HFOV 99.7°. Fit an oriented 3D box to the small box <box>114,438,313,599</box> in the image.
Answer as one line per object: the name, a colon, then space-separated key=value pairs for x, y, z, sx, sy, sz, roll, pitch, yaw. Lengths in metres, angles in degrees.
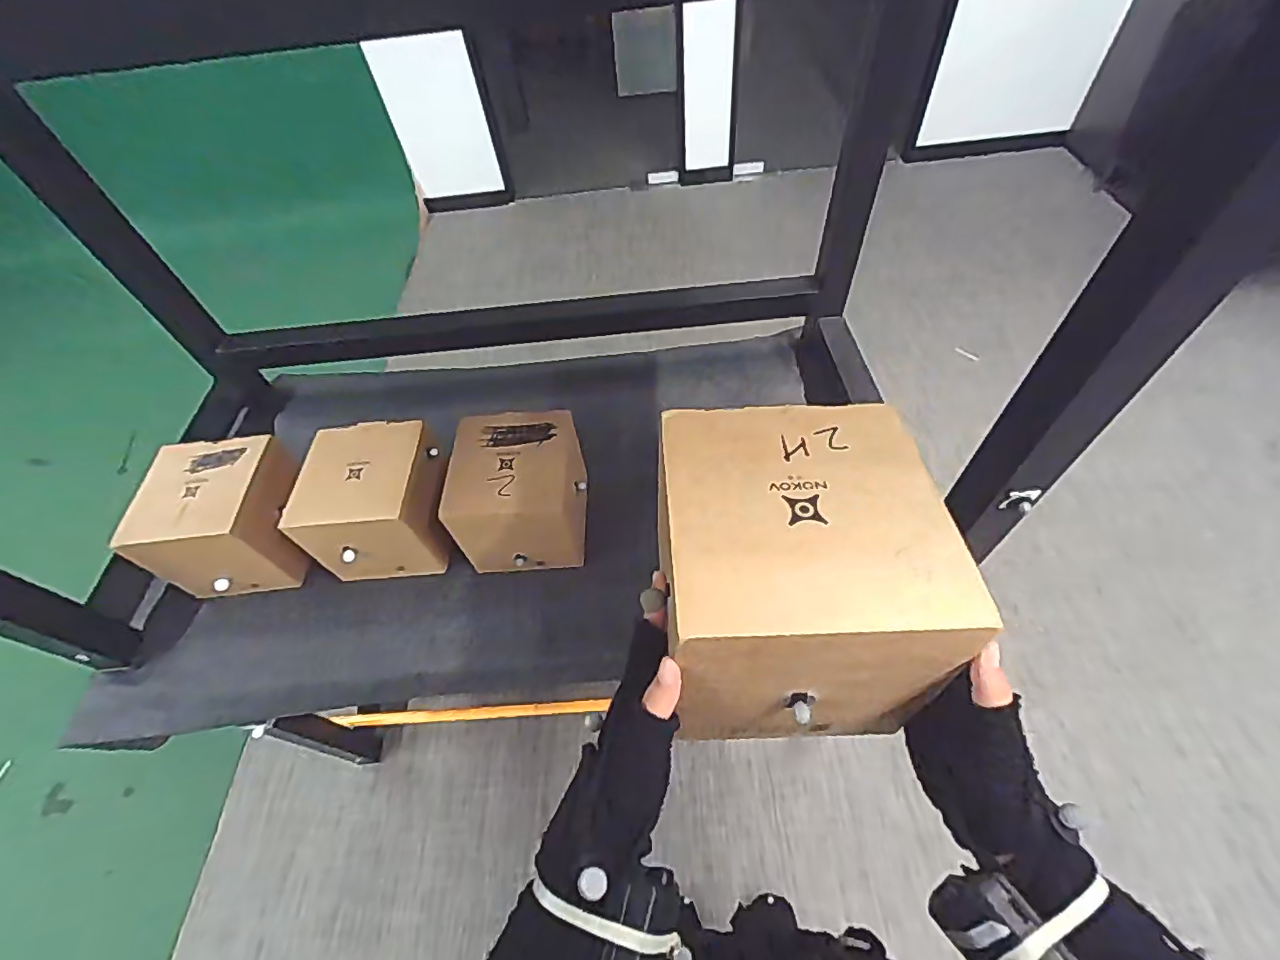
small box: x=-0.615 y=0.062 z=0.825 sx=0.168 sy=0.176 sz=0.179 roll=-7 pitch=53 yaw=1

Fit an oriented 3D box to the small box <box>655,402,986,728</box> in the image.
small box: x=0.096 y=0.065 z=0.387 sx=0.168 sy=0.176 sz=0.179 roll=-1 pitch=47 yaw=0

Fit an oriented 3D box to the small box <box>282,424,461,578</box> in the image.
small box: x=-0.389 y=0.040 z=0.821 sx=0.168 sy=0.176 sz=0.179 roll=-4 pitch=52 yaw=2
